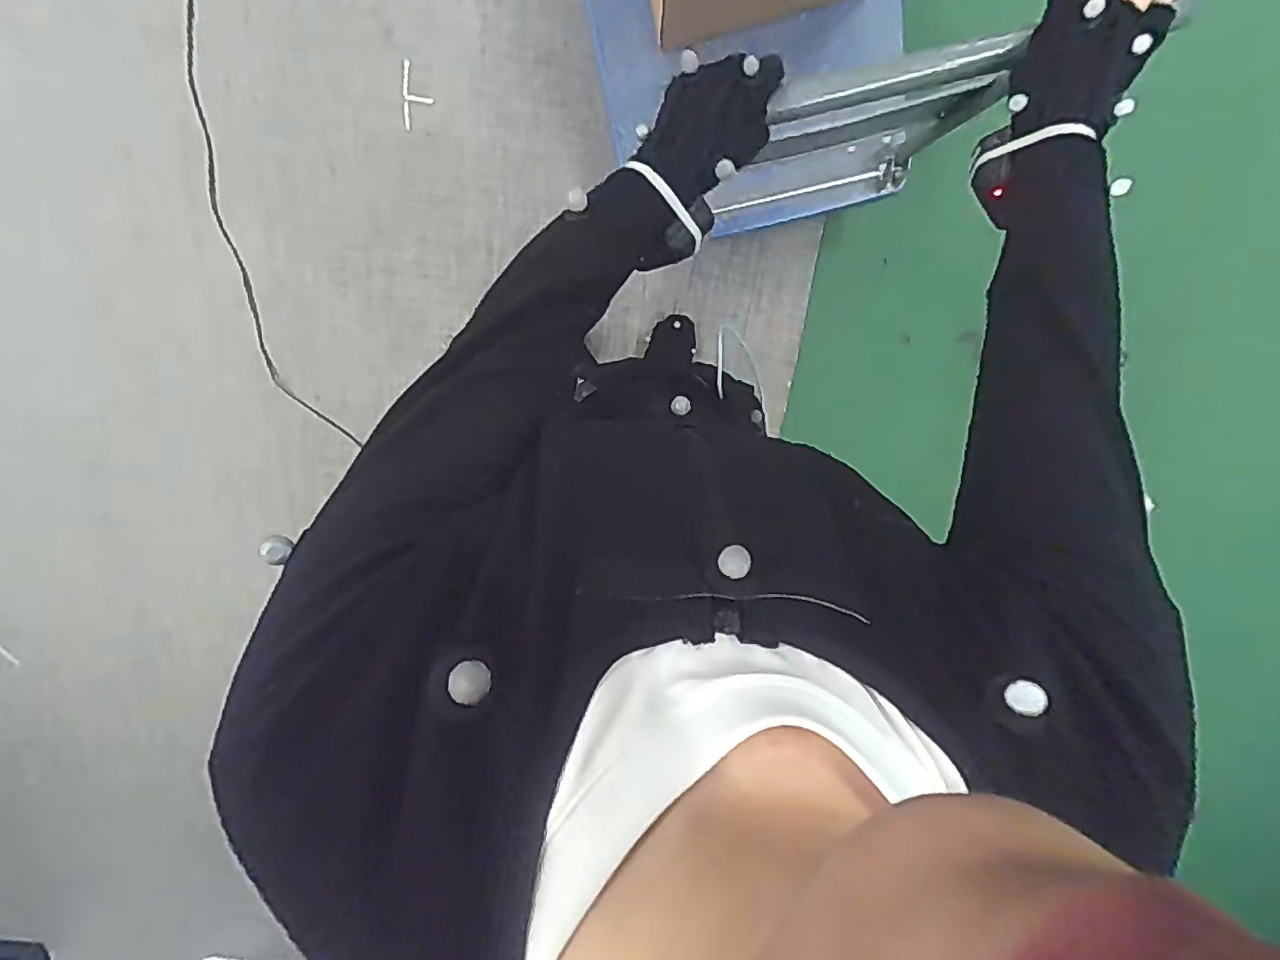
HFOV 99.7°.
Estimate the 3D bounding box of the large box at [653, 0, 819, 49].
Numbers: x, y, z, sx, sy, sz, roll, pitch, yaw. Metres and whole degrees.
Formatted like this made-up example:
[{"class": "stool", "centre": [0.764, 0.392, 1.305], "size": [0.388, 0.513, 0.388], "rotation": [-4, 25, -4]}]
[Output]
[{"class": "large box", "centre": [0.198, -0.957, 0.833], "size": [0.408, 0.320, 0.320], "rotation": [-13, 109, 6]}]
